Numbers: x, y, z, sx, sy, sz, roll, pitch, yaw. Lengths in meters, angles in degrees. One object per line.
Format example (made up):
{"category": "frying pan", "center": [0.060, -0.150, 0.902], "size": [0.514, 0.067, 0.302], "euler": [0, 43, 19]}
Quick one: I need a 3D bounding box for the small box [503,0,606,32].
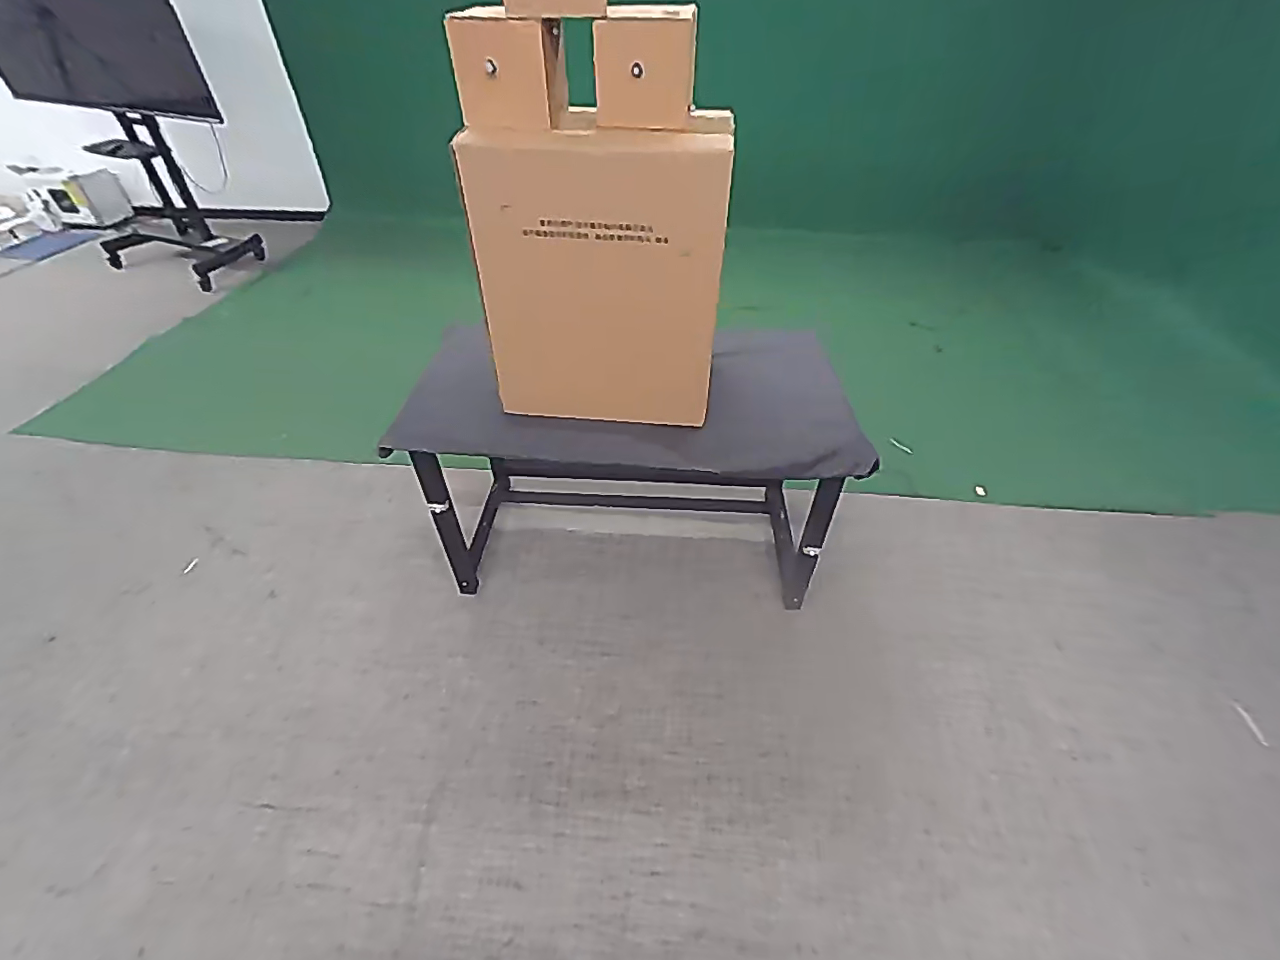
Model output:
{"category": "small box", "center": [-0.149, -0.894, 0.939], "size": [0.179, 0.176, 0.168], "euler": [-4, 44, -1]}

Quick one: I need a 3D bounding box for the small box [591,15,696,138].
{"category": "small box", "center": [0.012, -0.782, 1.051], "size": [0.179, 0.176, 0.168], "euler": [4, 47, 6]}

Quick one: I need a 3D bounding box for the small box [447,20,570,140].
{"category": "small box", "center": [-0.246, -0.782, 1.059], "size": [0.179, 0.176, 0.168], "euler": [5, 47, 6]}
